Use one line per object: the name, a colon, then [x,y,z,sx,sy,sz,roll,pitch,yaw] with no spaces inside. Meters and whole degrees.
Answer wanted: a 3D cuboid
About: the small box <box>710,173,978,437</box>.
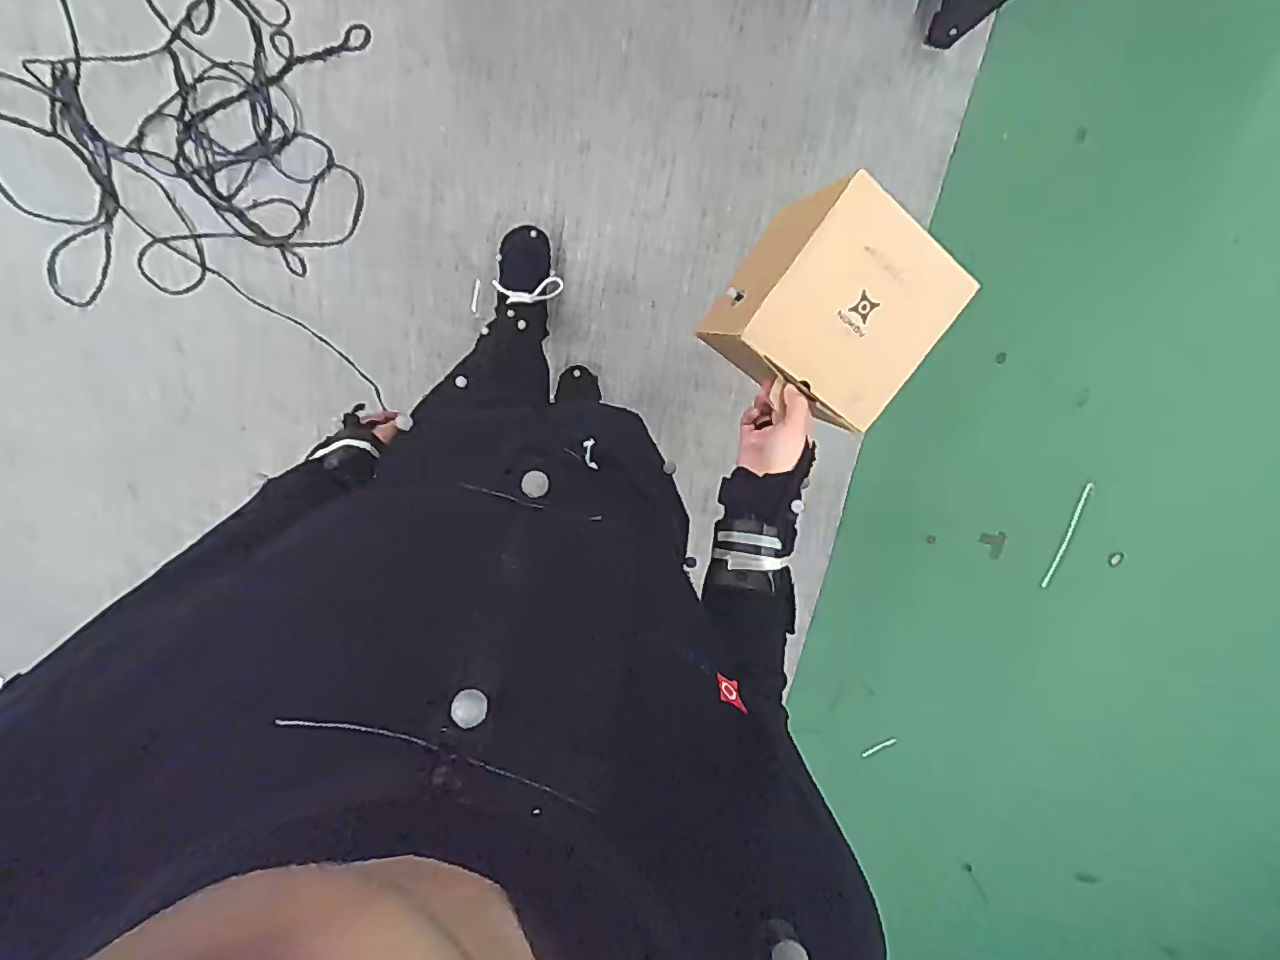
small box: [0.192,-0.173,0.572,0.168,0.176,0.179,33,98,-16]
